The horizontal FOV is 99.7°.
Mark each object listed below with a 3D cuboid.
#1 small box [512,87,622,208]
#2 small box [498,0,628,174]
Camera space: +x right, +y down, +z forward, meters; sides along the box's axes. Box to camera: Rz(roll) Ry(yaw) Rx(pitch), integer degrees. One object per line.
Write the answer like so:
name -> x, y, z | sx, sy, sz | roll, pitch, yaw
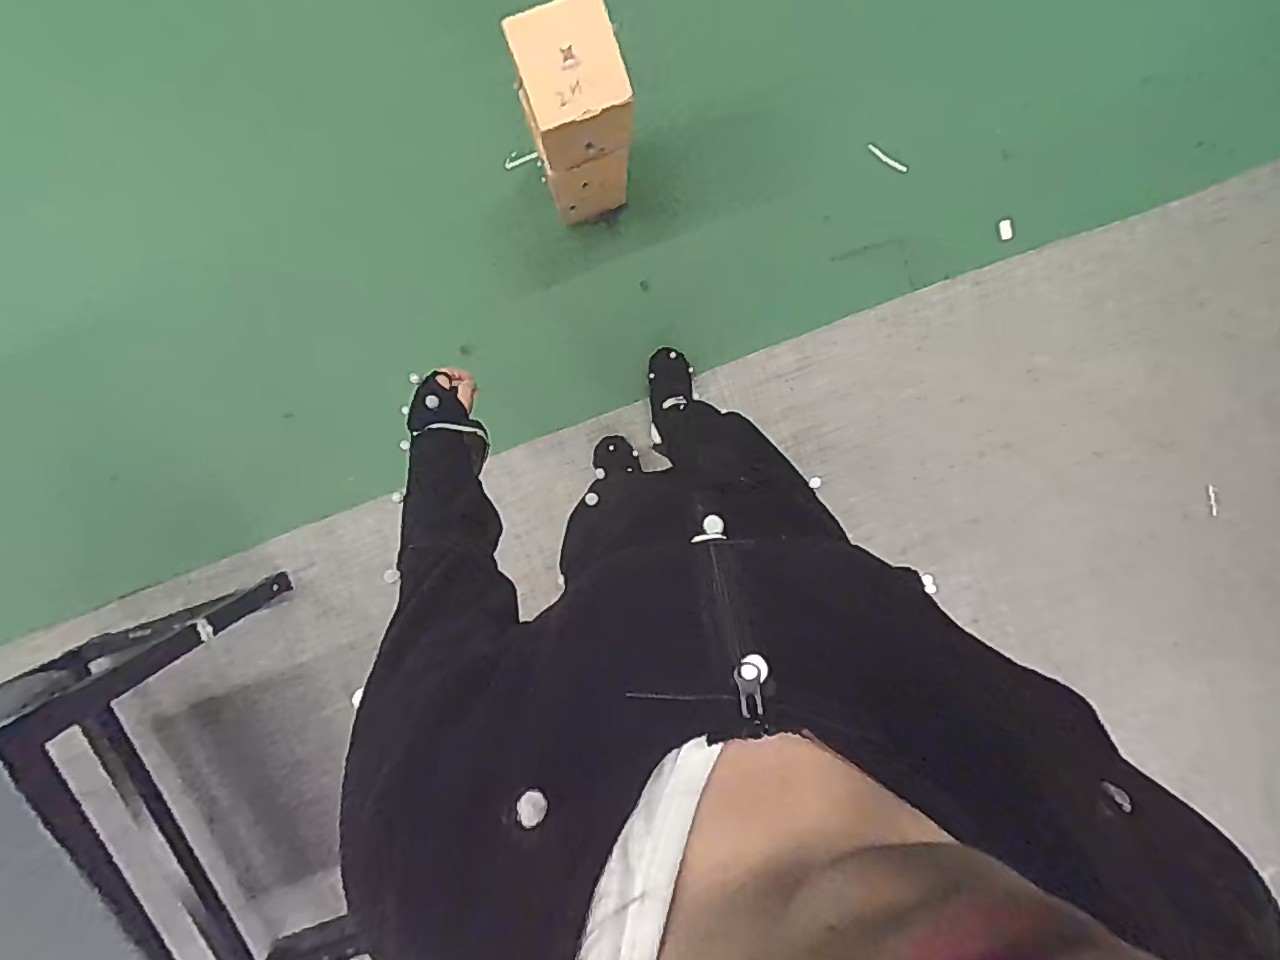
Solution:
small box -> -0.145, -0.696, 1.108 | 0.168, 0.176, 0.179 | -21, 100, -1
small box -> -0.129, -0.678, 0.944 | 0.168, 0.176, 0.179 | -20, 100, -1
